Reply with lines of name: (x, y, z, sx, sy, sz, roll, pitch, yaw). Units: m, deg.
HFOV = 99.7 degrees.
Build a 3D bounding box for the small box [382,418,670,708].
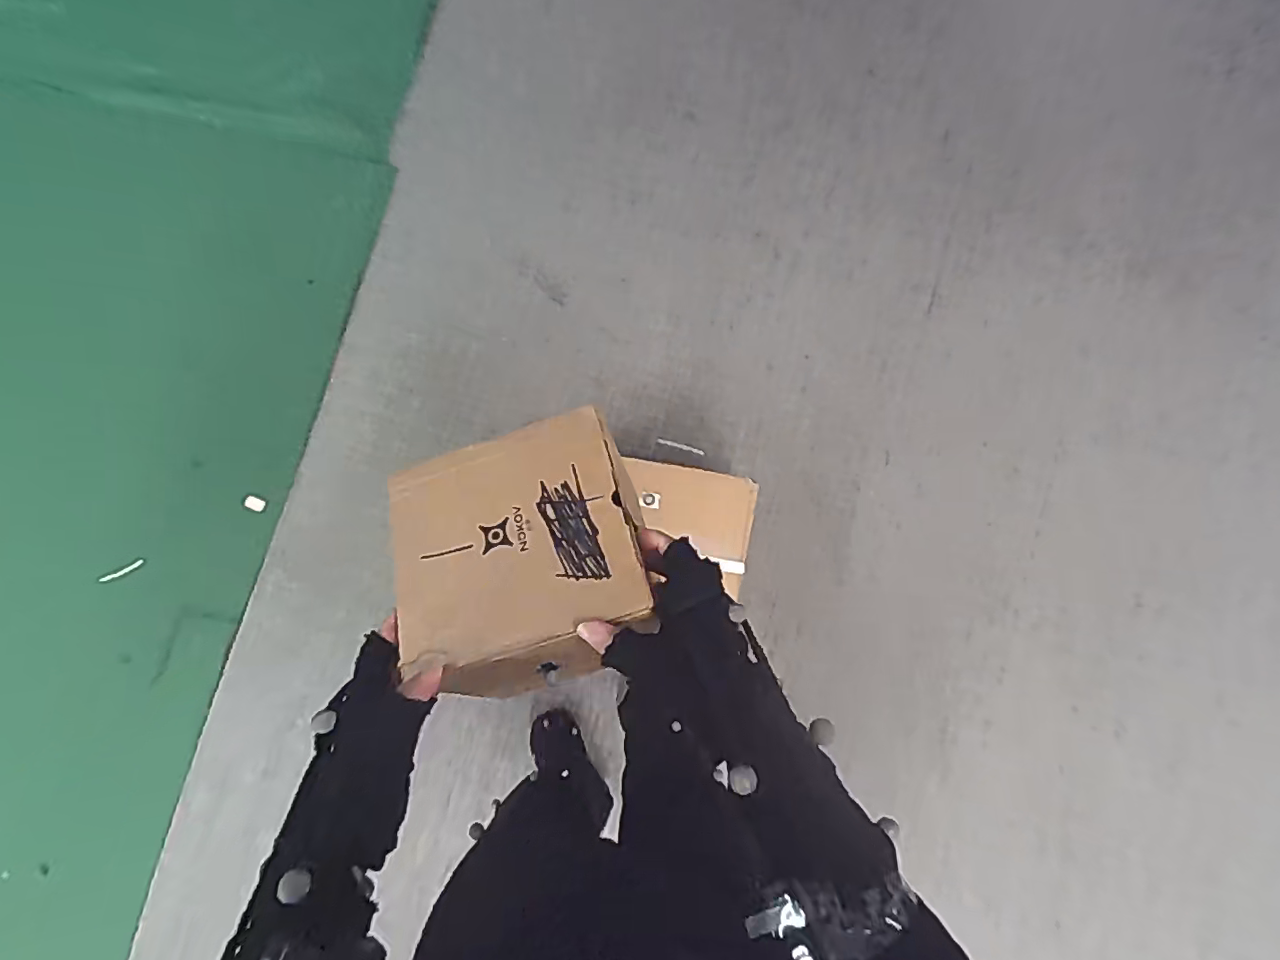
small box: (-0.081, 0.080, 0.450, 0.179, 0.176, 0.168, -20, 64, 4)
